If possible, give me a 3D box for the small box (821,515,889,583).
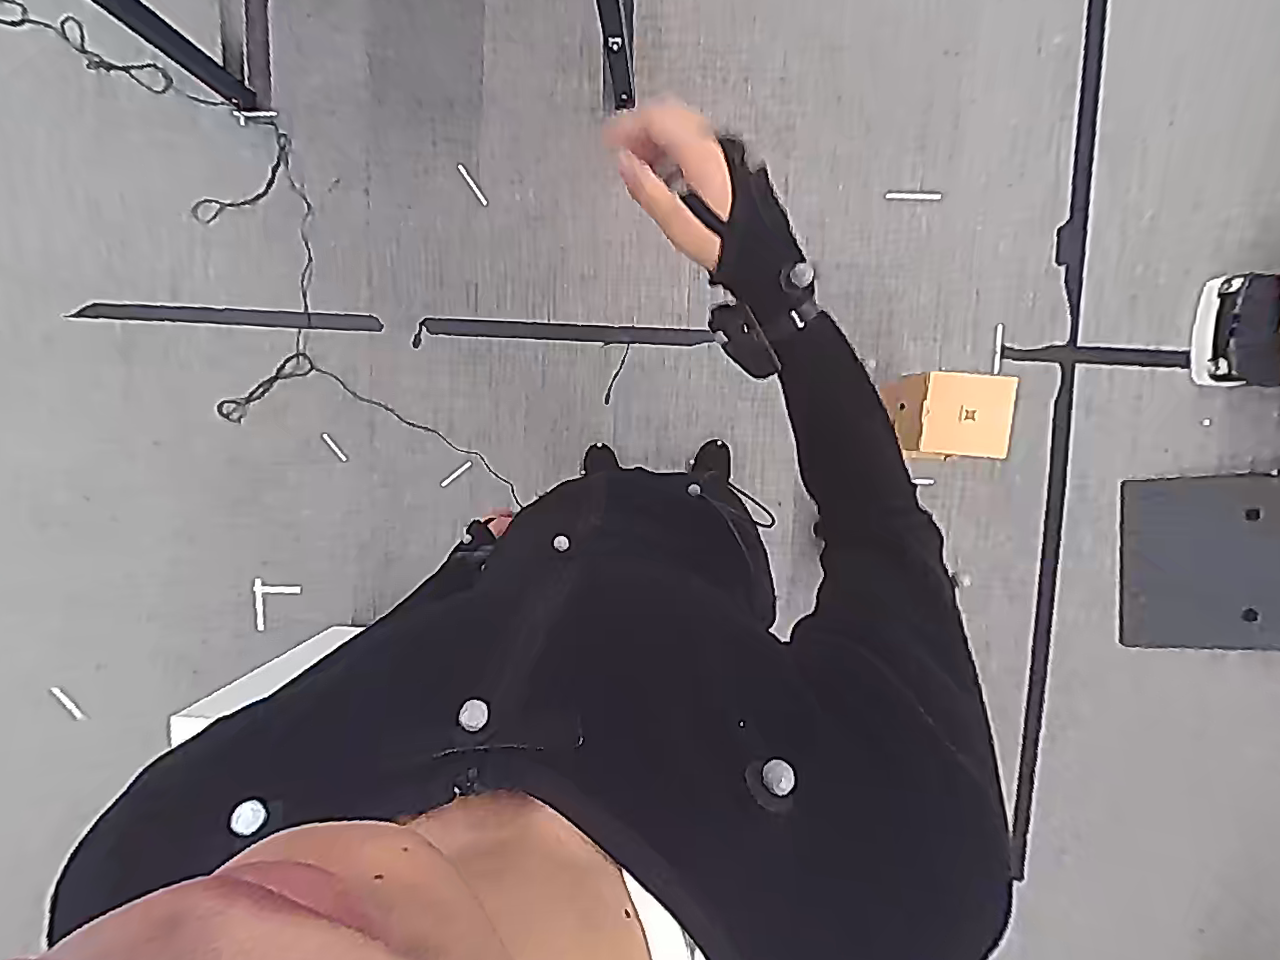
[{"bbox_3d":[0.624,0.192,1.526,0.179,0.176,0.168,1,94,5],"label":"small box"}]

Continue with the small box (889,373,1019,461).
[{"bbox_3d":[0.664,-0.136,1.163,0.179,0.176,0.168,5,96,4],"label":"small box"}]

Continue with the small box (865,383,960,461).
[{"bbox_3d":[0.667,-0.141,1.325,0.168,0.176,0.179,3,96,3],"label":"small box"}]
